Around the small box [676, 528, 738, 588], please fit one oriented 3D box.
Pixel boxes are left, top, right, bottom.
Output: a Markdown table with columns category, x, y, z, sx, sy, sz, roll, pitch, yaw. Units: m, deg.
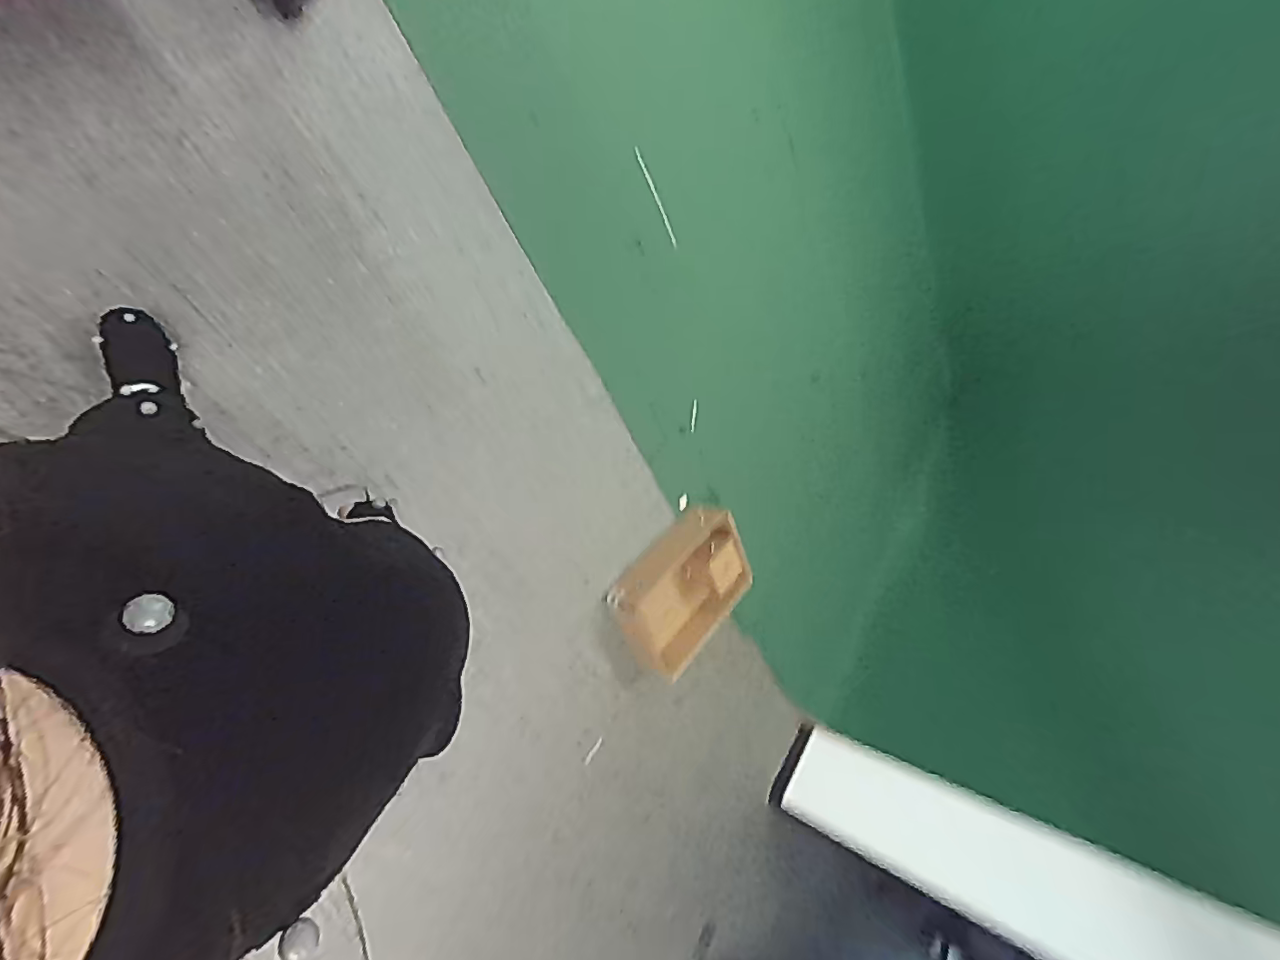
| category | x | y | z | sx | sy | sz | roll | pitch | yaw |
| --- | --- | --- | --- | --- | --- | --- | --- | --- | --- |
| small box | 0.284 | 0.323 | 2.287 | 0.179 | 0.176 | 0.168 | -42 | 121 | -31 |
